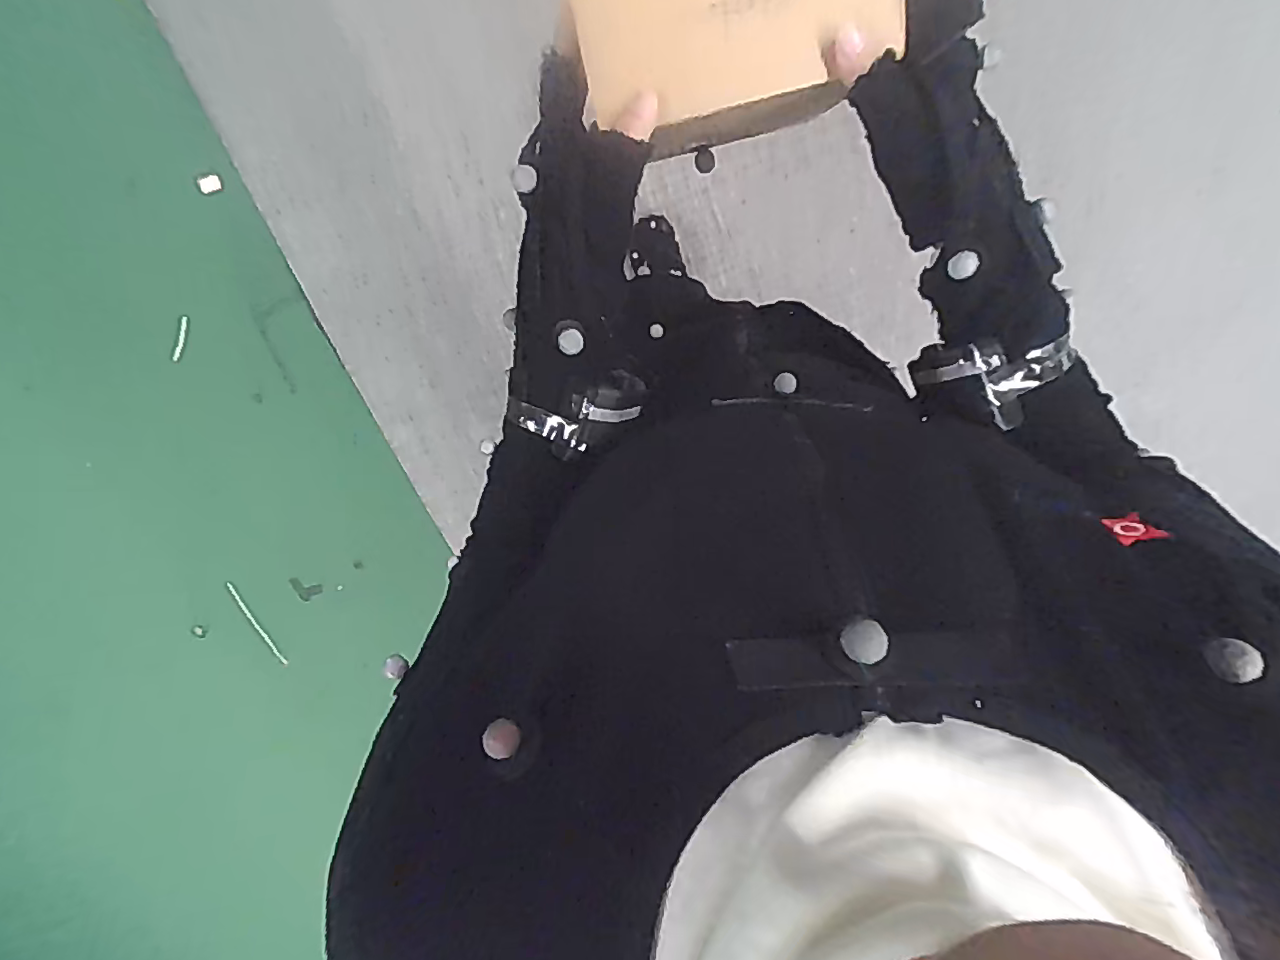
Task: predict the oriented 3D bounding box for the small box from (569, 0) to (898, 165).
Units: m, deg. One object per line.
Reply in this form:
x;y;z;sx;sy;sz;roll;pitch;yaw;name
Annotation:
0.036;-0.316;0.329;0.168;0.176;0.179;-12;114;5;small box
